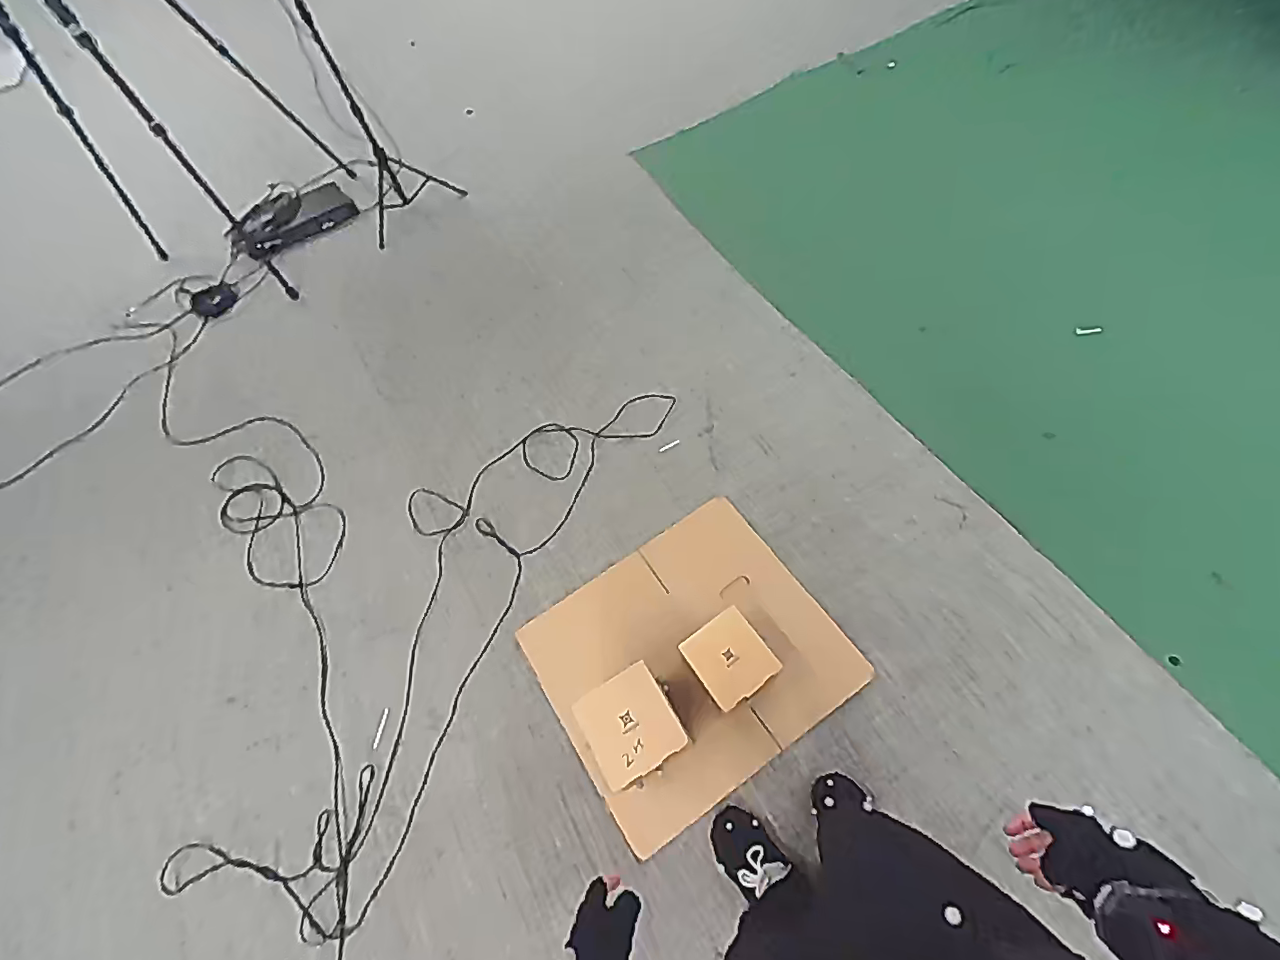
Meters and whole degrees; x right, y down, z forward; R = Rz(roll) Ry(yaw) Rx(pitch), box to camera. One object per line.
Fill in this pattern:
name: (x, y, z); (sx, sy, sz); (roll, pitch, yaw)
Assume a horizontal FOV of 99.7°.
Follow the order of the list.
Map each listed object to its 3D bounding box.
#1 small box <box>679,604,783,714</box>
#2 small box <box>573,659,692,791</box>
small box: (0.208, 0.426, 1.272); (0.168, 0.176, 0.179); (-34, 64, -11)
small box: (-0.009, 0.488, 1.078); (0.168, 0.176, 0.179); (-31, 63, -8)
